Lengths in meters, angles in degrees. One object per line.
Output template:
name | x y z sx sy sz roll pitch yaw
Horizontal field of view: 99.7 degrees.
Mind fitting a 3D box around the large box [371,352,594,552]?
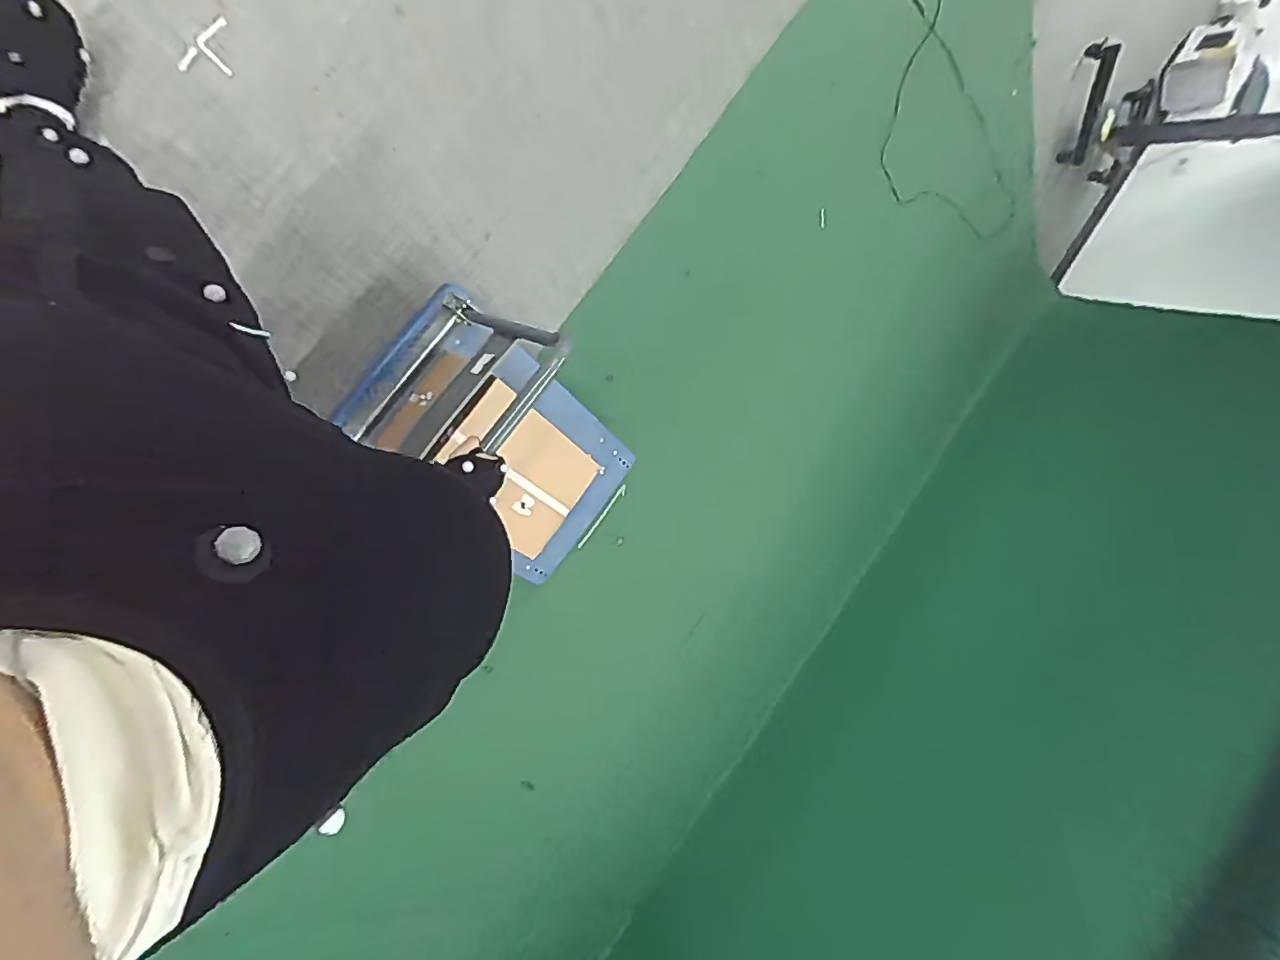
large box | -0.408 -0.073 1.422 0.320 0.320 0.408 -53 135 -6
